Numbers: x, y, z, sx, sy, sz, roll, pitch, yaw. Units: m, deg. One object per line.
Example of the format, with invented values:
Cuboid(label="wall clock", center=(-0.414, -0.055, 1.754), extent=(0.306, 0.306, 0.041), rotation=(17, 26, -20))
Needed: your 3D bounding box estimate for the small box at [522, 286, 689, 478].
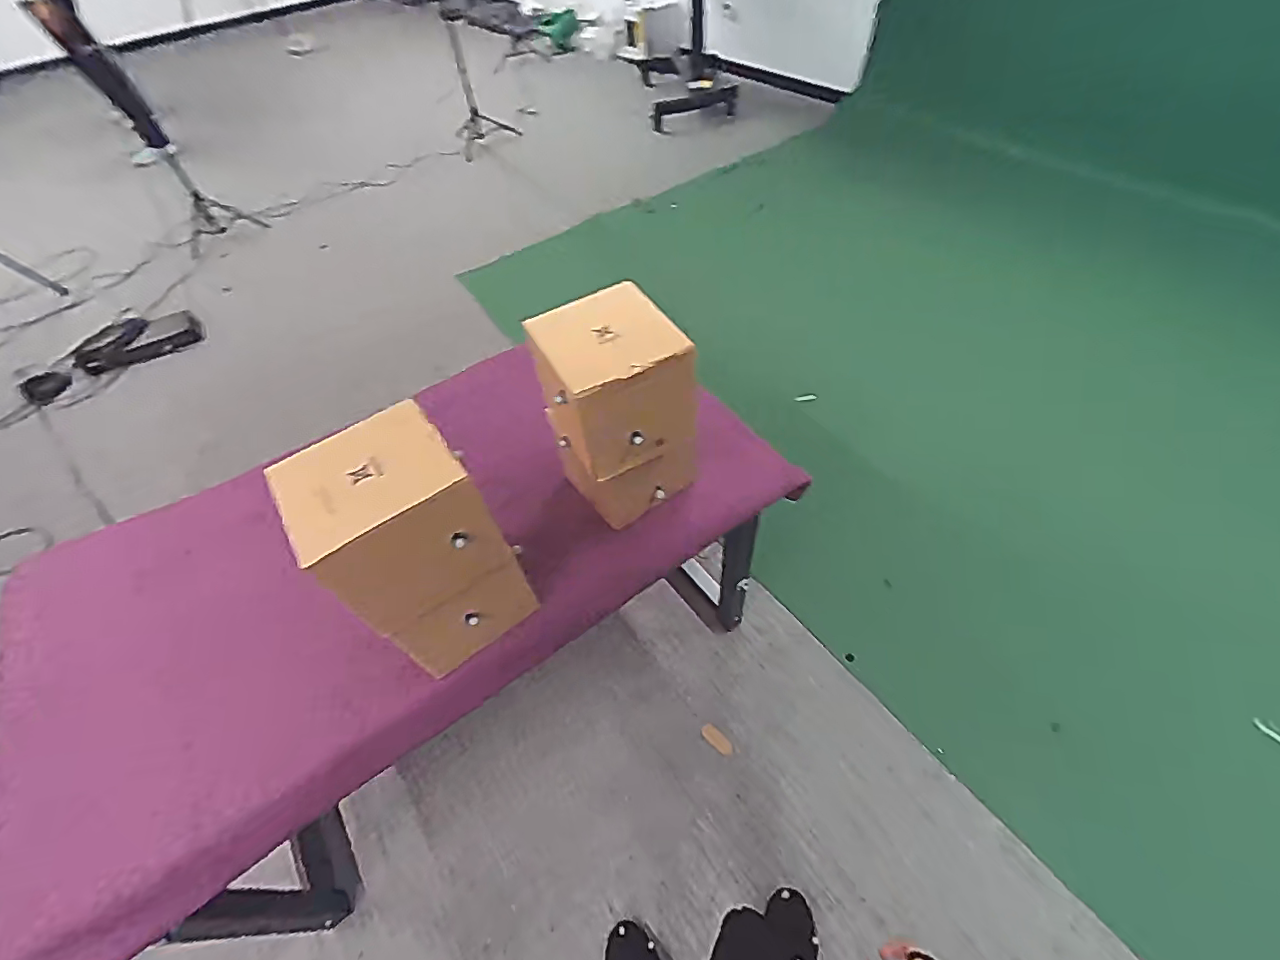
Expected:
Cuboid(label="small box", center=(-0.044, -0.136, 0.760), extent=(0.168, 0.176, 0.179), rotation=(-26, 54, -14))

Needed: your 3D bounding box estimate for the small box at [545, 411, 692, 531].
Cuboid(label="small box", center=(-0.030, -0.051, 0.902), extent=(0.179, 0.176, 0.168), rotation=(-33, 54, -18))

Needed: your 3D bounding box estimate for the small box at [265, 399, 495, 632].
Cuboid(label="small box", center=(-0.290, 0.043, 0.639), extent=(0.179, 0.176, 0.168), rotation=(-32, 53, -18))
